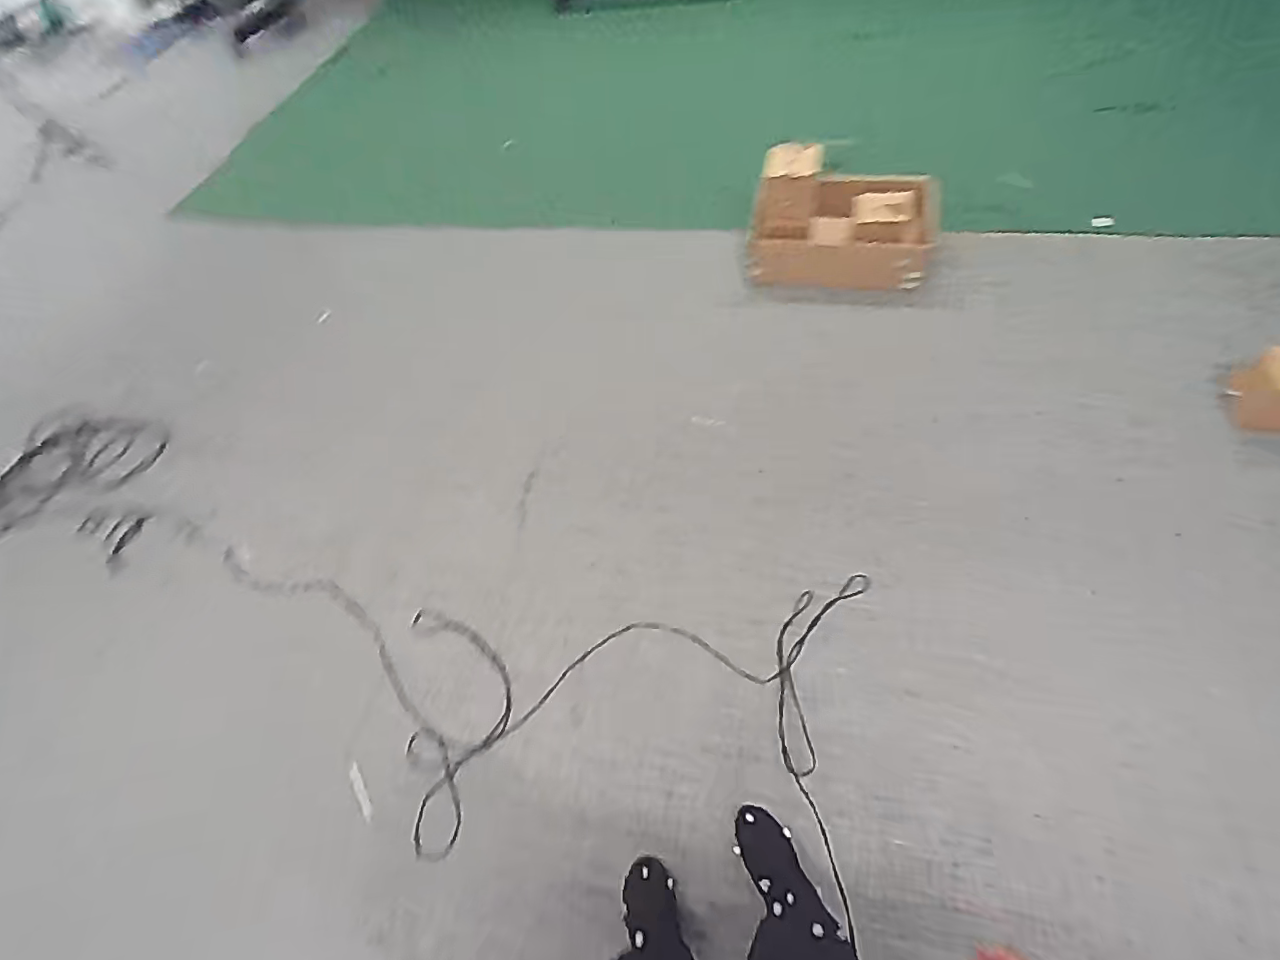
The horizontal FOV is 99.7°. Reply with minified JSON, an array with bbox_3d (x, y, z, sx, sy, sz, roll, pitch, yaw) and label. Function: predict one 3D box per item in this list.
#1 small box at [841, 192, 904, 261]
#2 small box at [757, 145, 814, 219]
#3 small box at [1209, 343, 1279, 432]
[{"bbox_3d":[0.839,-0.916,1.960,0.179,0.176,0.168,6,61,13],"label":"small box"},{"bbox_3d":[0.504,-1.036,1.887,0.168,0.176,0.179,9,62,13],"label":"small box"},{"bbox_3d":[1.757,-0.251,1.498,0.179,0.176,0.168,11,61,14],"label":"small box"}]
